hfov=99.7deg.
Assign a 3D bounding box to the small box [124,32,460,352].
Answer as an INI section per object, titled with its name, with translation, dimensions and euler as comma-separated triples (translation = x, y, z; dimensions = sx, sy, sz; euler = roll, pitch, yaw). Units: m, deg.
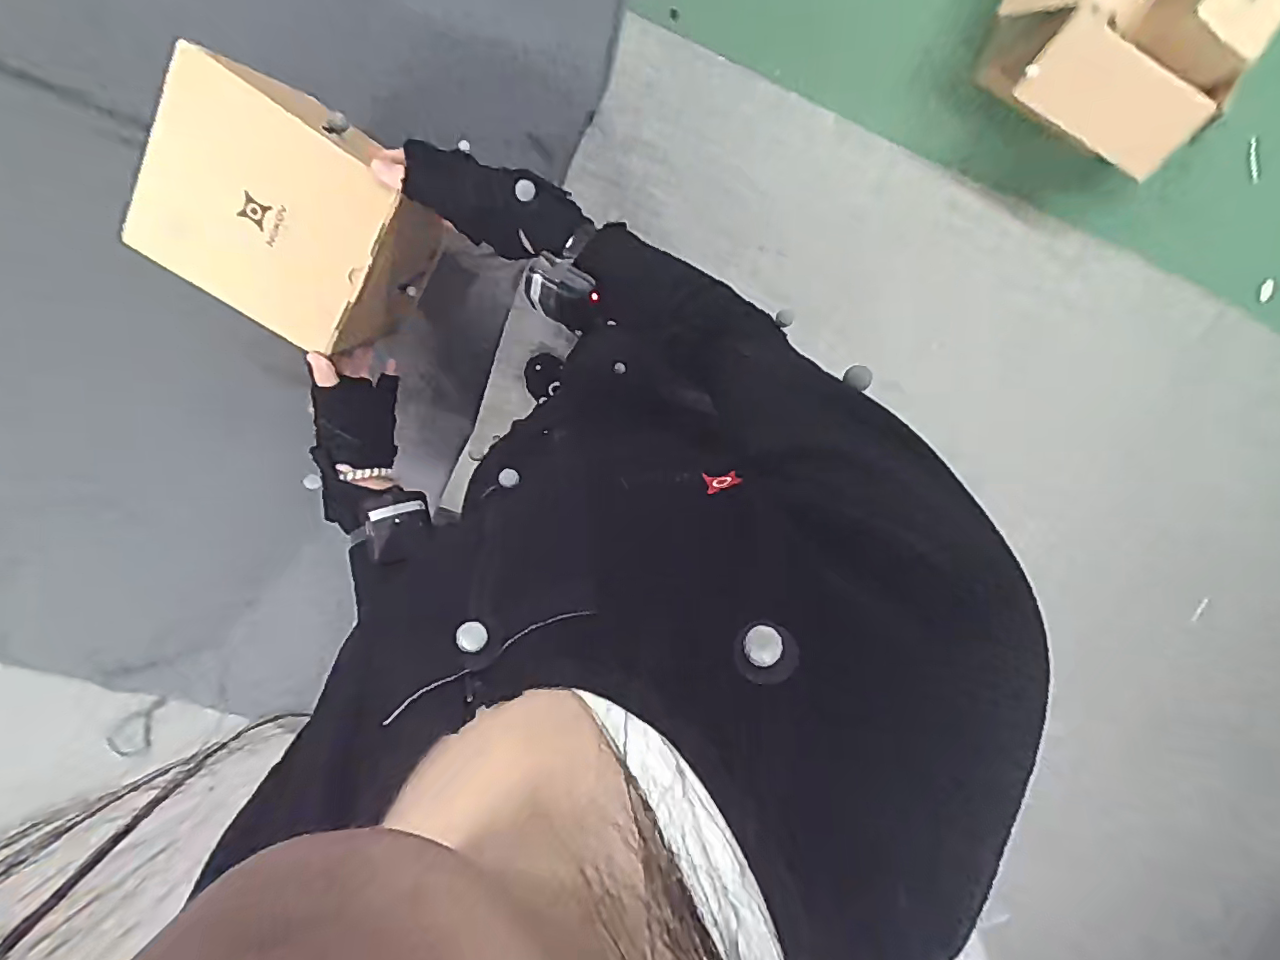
[small box]
translation = -0.300, -0.246, 0.503
dimensions = 0.179, 0.176, 0.168
euler = 32, 108, -16
